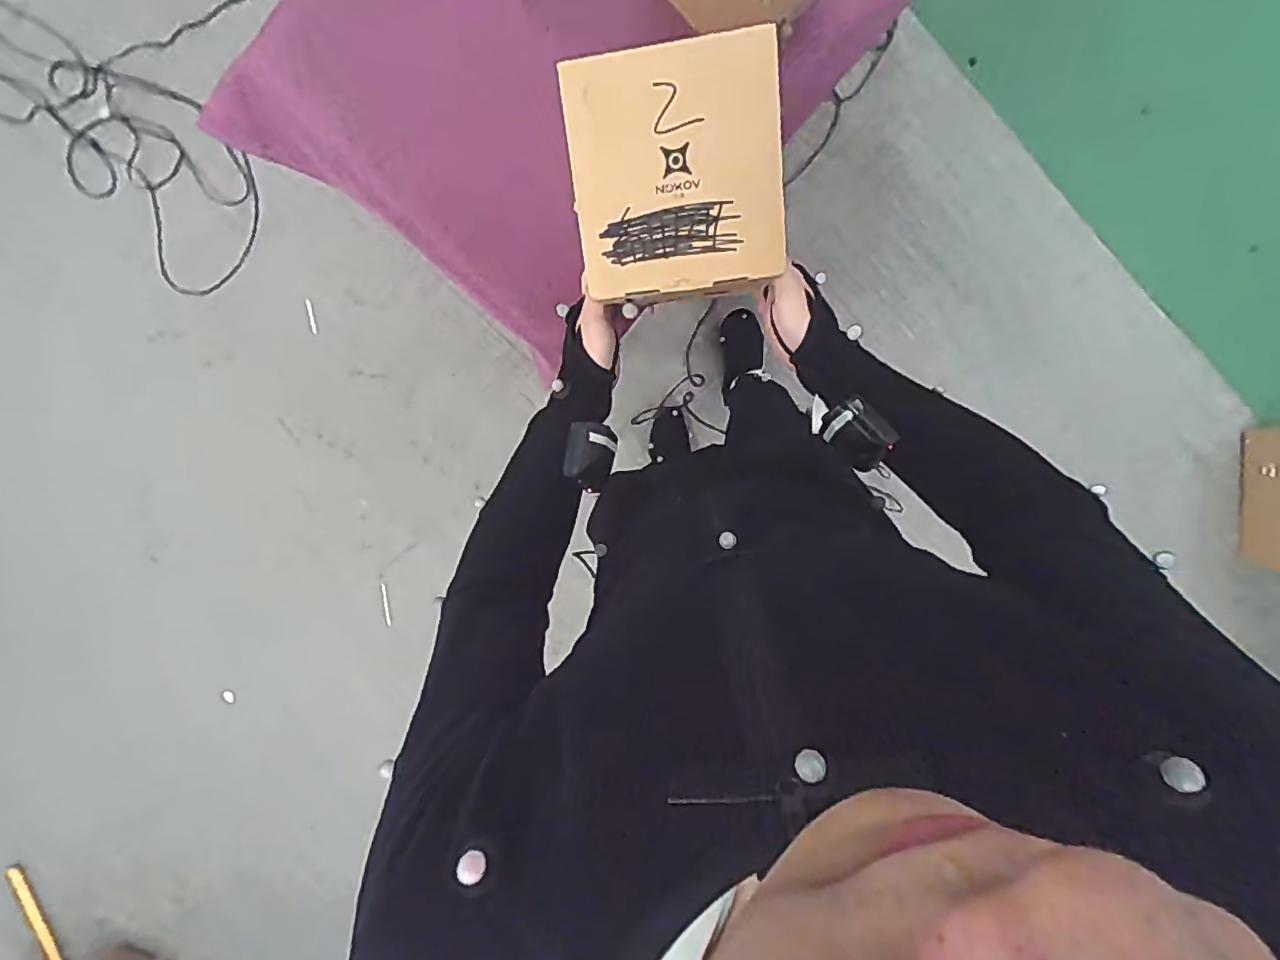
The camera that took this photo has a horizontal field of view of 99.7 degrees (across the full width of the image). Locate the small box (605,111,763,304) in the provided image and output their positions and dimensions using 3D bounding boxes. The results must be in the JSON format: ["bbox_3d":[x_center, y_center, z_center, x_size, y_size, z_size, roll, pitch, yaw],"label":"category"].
[{"bbox_3d":[0.057,-0.310,0.654,0.168,0.176,0.179,-3,106,6],"label":"small box"}]
